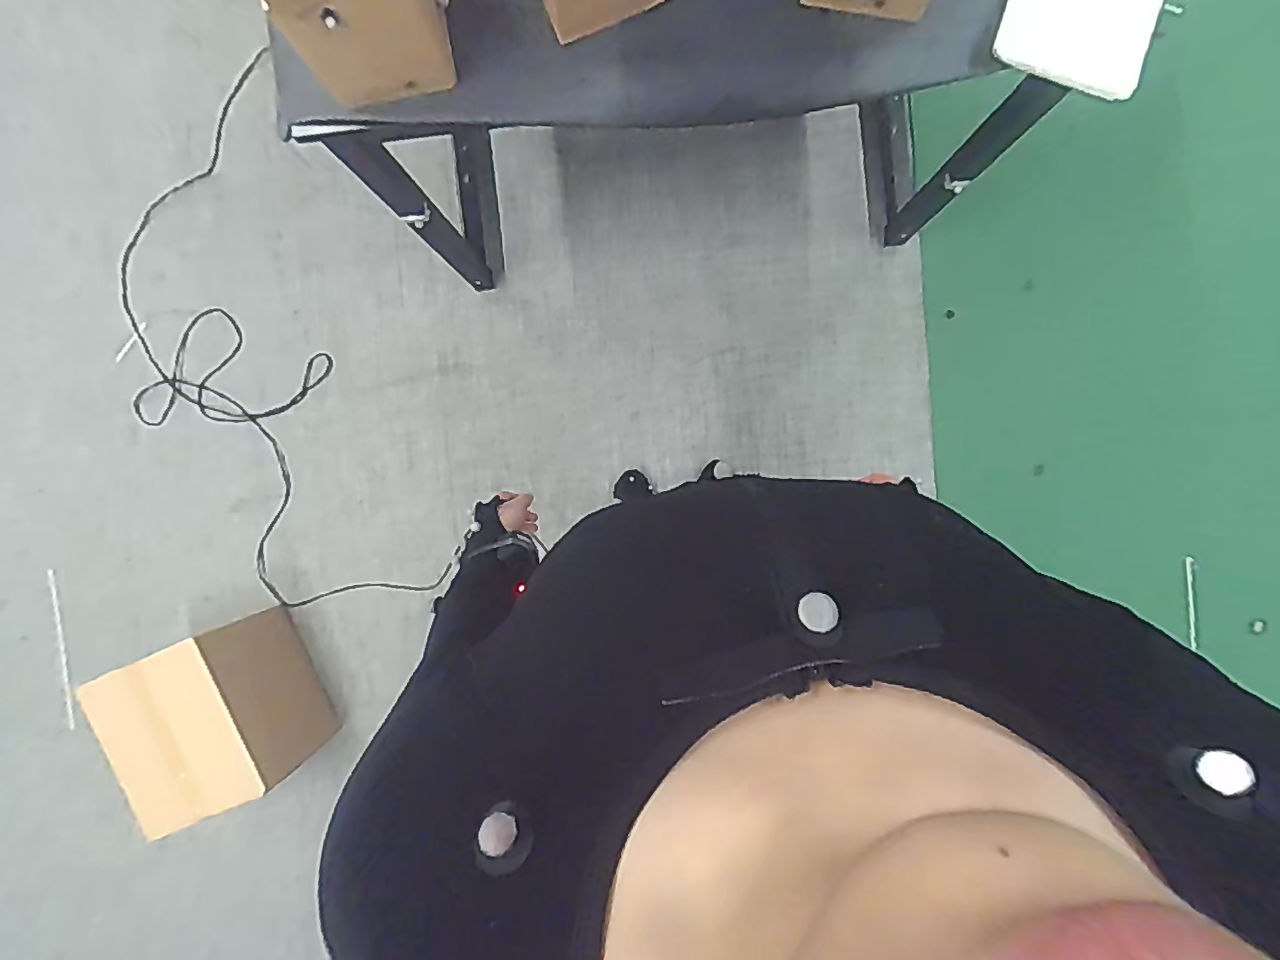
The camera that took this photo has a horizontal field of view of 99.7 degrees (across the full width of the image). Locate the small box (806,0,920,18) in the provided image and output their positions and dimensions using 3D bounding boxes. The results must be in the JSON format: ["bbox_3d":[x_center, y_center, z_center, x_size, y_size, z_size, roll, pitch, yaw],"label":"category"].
[{"bbox_3d":[0.305,-0.727,0.657,0.168,0.176,0.179,10,92,3],"label":"small box"}]

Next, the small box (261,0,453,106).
[{"bbox_3d":[-0.356,-0.625,0.685,0.168,0.176,0.179,-10,91,2],"label":"small box"}]

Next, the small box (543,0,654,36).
[{"bbox_3d":[-0.067,-0.716,0.674,0.179,0.176,0.168,-22,91,2],"label":"small box"}]
